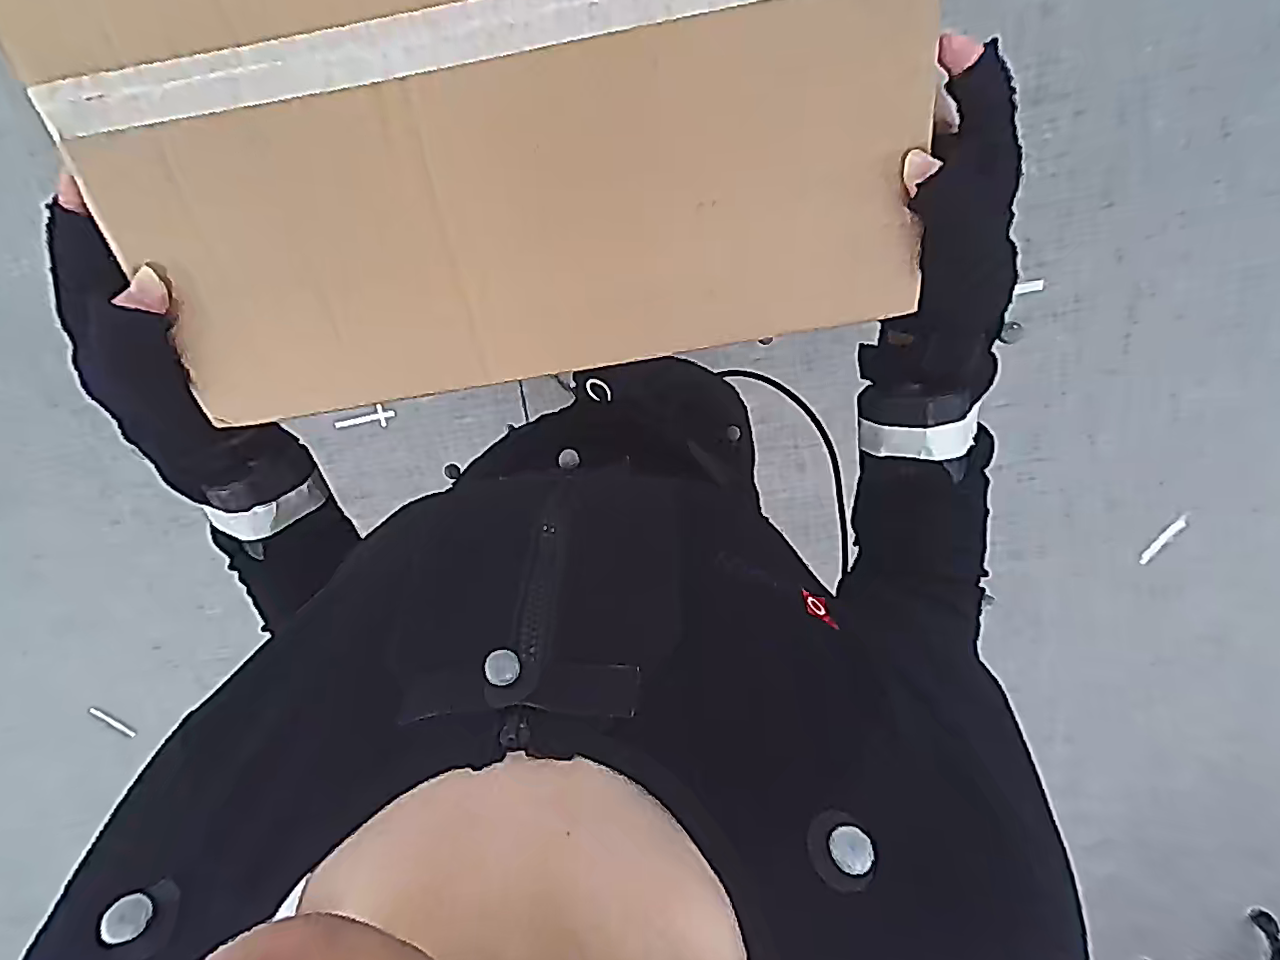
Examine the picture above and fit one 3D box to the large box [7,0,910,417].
[{"bbox_3d":[-0.077,-0.271,0.380,0.408,0.320,0.320,-9,116,3],"label":"large box"}]
